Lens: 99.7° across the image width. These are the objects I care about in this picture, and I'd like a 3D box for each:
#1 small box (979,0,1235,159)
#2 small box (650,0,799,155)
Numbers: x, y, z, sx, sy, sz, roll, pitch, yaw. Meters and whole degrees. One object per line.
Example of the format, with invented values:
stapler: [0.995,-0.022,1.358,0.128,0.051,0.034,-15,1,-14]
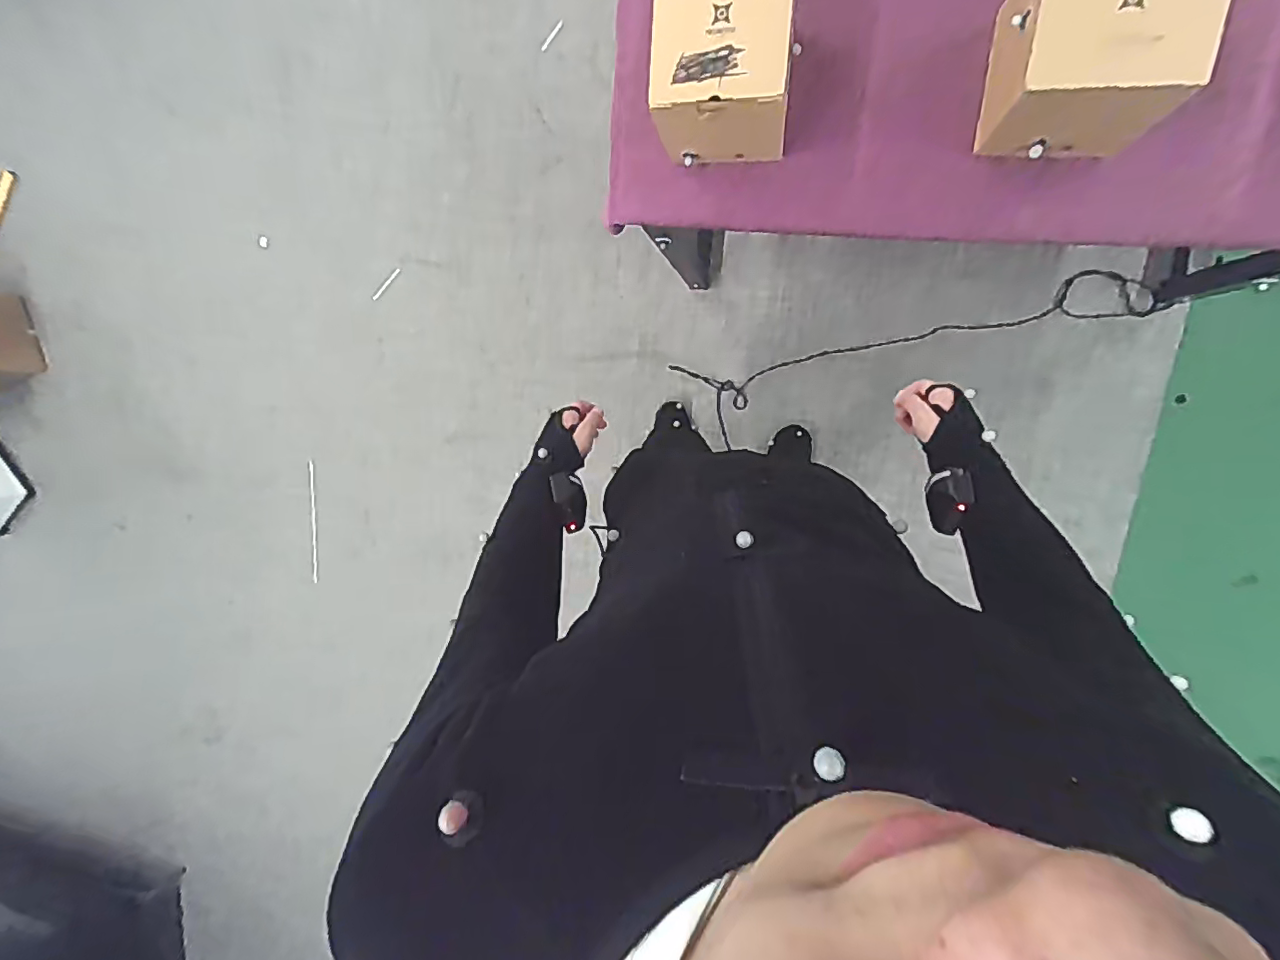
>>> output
small box: [0.517,-0.499,0.617,0.168,0.176,0.179,9,100,13]
small box: [0.115,-0.546,0.703,0.168,0.176,0.179,5,98,12]
